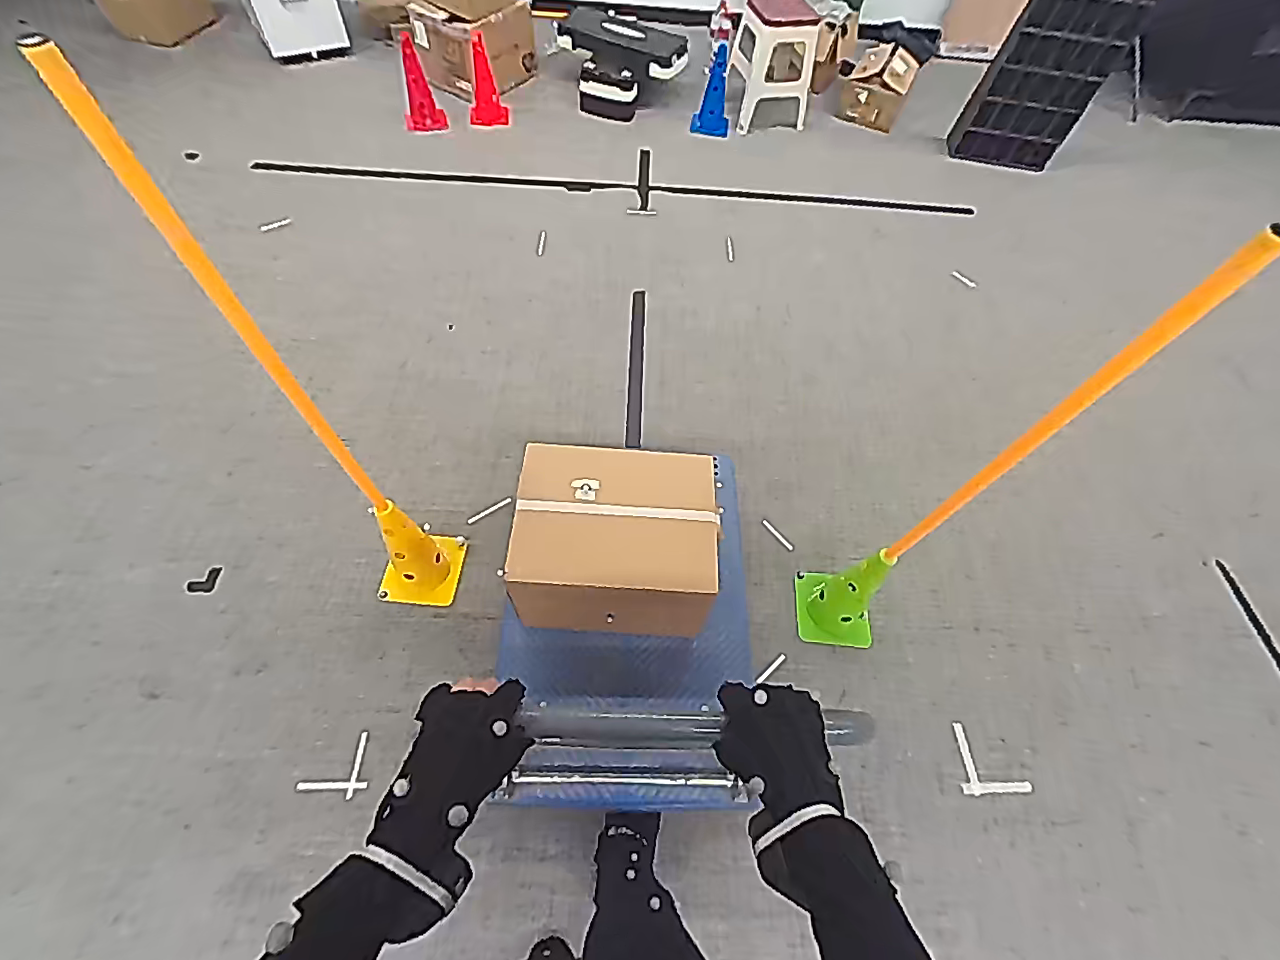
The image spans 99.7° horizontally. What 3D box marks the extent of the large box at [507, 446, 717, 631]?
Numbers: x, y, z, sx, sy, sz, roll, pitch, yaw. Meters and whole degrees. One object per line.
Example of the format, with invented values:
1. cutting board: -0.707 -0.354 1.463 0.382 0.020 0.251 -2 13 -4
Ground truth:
1. large box: -0.053 0.144 1.219 0.408 0.320 0.320 4 59 -1

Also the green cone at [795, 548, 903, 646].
1. green cone: 0.550 0.265 1.360 0.202 0.368 0.200 7 58 -1
